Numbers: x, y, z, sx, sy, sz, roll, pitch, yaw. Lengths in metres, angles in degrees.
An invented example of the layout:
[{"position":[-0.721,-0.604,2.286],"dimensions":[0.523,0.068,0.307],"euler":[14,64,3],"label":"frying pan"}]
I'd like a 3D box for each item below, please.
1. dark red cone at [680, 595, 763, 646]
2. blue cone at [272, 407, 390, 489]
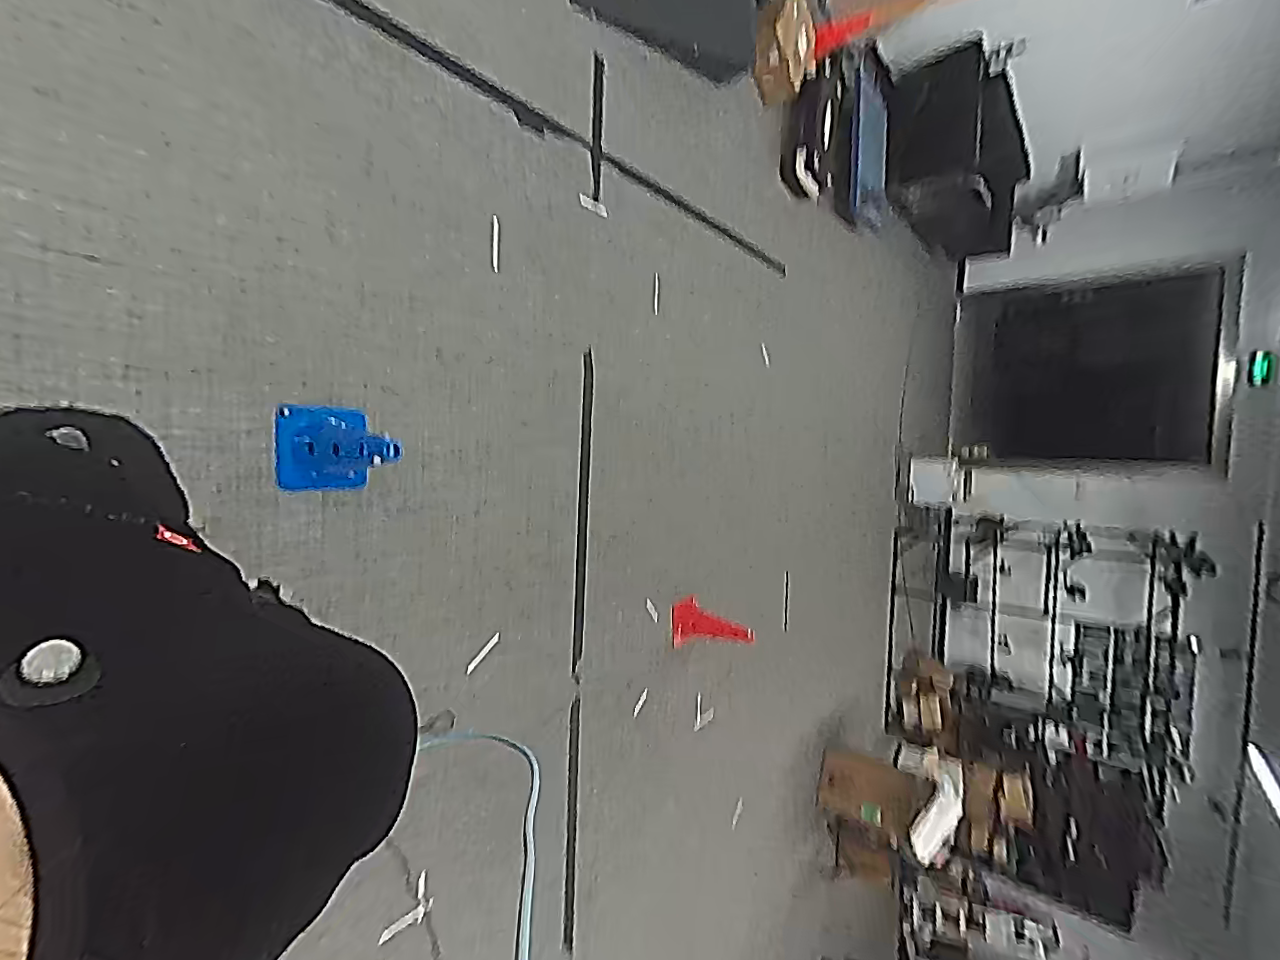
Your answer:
[{"position":[0.370,0.663,2.422],"dimensions":[0.201,0.394,0.202],"euler":[-13,103,-48],"label":"dark red cone"},{"position":[-0.637,-0.066,1.175],"dimensions":[0.192,0.380,0.193],"euler":[0,94,-49],"label":"blue cone"}]
